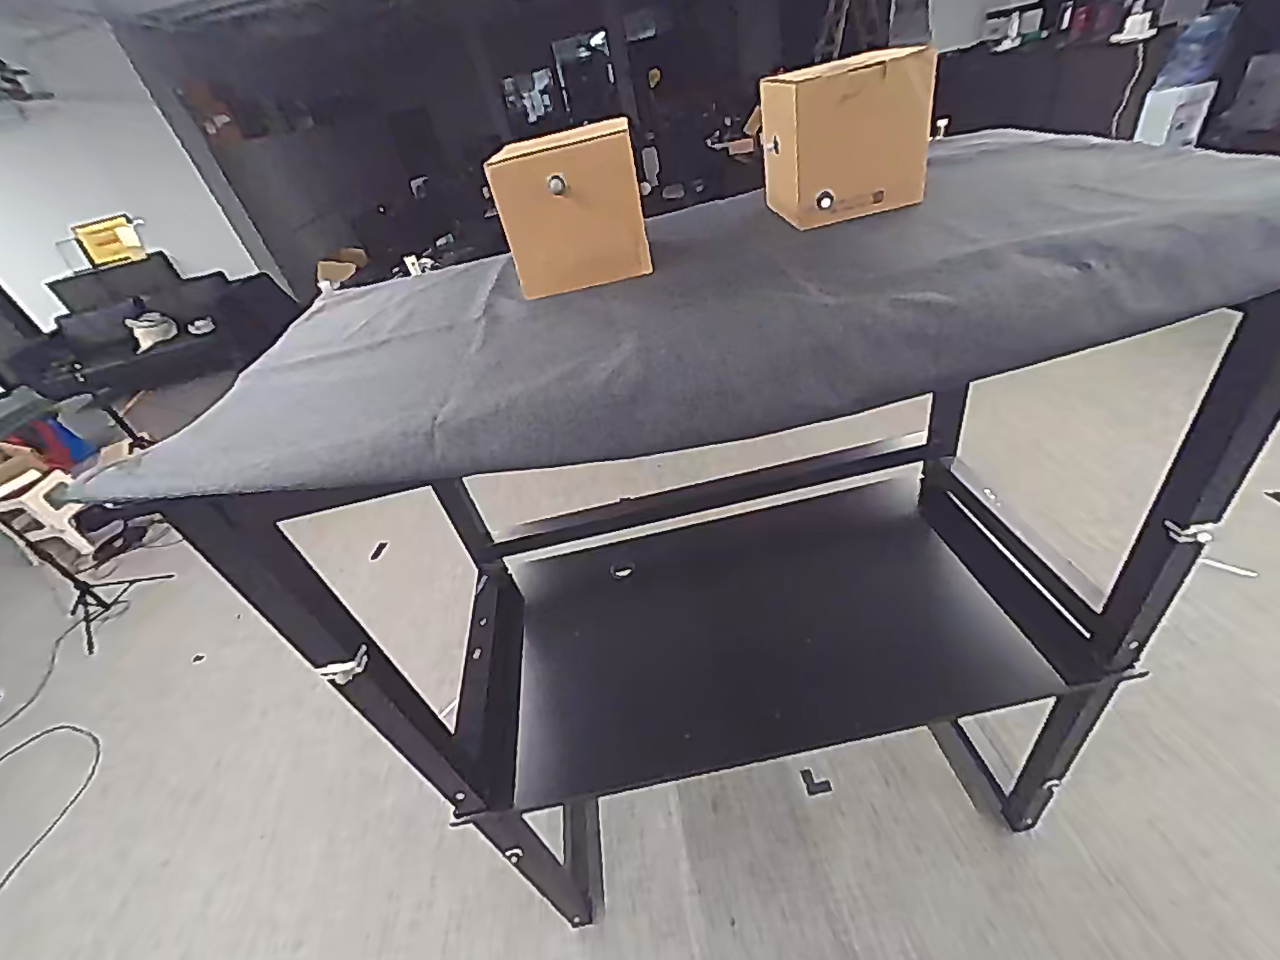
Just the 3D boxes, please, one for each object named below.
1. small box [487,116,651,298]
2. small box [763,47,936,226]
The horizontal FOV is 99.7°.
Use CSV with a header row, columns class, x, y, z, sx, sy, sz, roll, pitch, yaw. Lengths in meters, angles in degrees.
class,x,y,z,sx,sy,sz,roll,pitch,yaw
small box,-0.081,-0.368,0.732,0.179,0.176,0.168,-10,37,6
small box,0.273,-0.461,0.736,0.168,0.176,0.179,-11,36,4
